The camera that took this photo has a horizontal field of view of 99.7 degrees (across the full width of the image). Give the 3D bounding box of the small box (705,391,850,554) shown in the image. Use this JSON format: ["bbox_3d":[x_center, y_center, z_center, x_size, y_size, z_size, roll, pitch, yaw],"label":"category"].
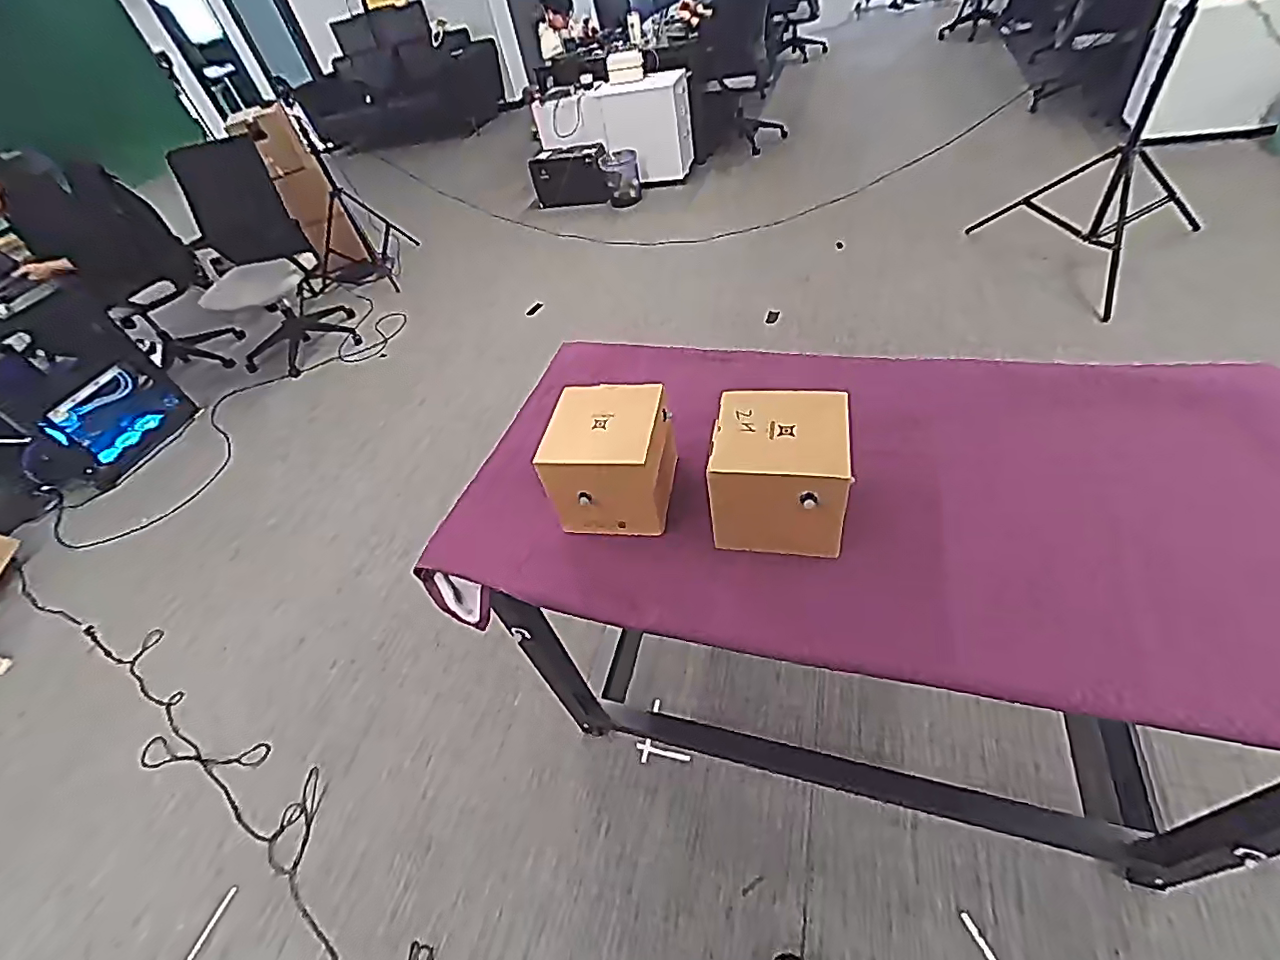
[{"bbox_3d":[0.197,-0.010,0.775,0.179,0.176,0.168,3,47,16],"label":"small box"}]

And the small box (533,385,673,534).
[{"bbox_3d":[-0.046,-0.029,0.856,0.168,0.176,0.179,0,47,14],"label":"small box"}]
